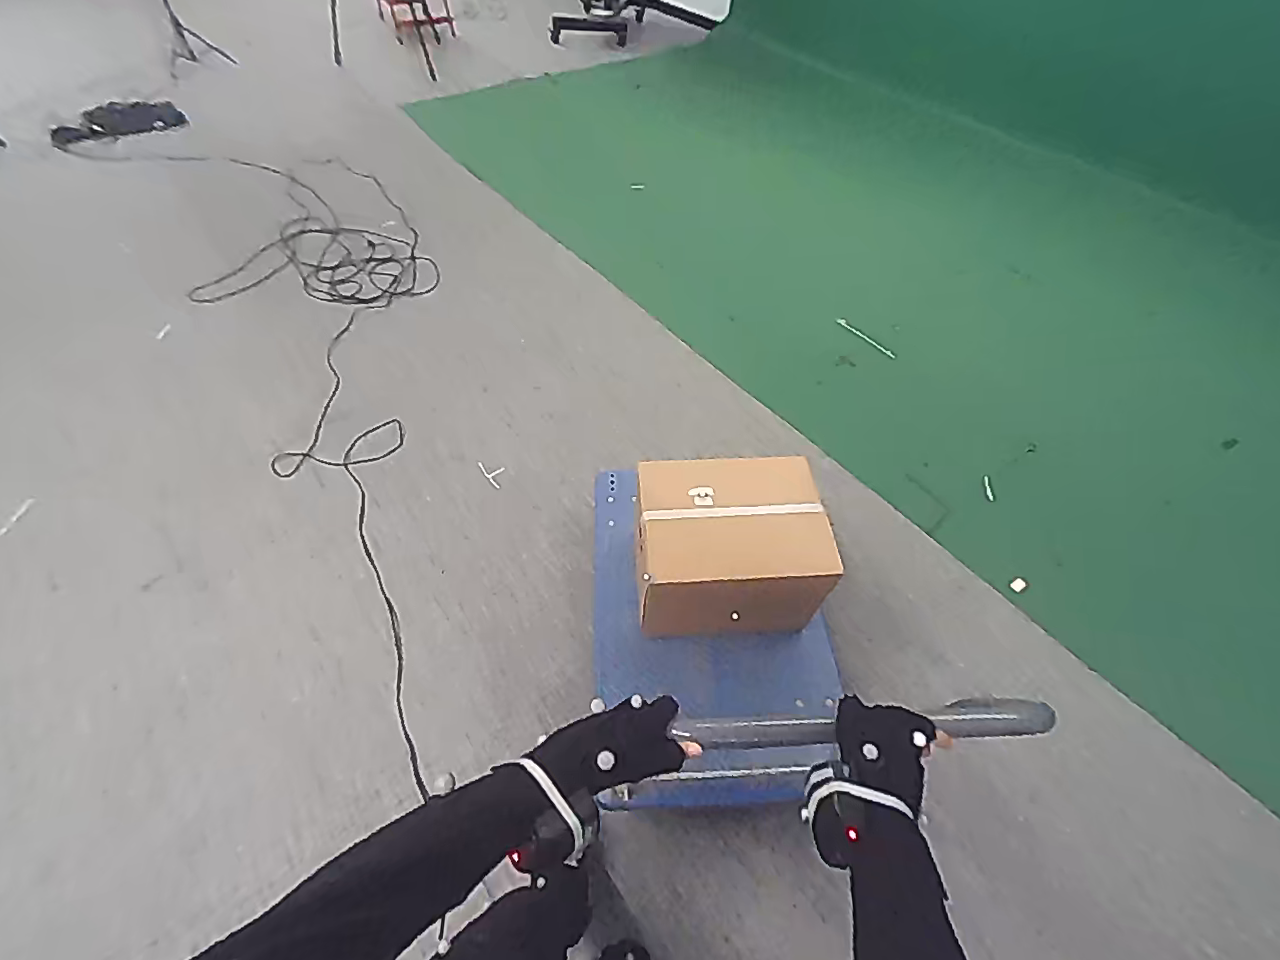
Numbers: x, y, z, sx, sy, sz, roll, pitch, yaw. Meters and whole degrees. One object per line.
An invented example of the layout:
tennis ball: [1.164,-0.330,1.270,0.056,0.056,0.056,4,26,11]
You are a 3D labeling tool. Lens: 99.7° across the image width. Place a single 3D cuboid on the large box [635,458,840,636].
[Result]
large box: [0.202,0.168,1.308,0.408,0.320,0.320,-3,53,-4]
